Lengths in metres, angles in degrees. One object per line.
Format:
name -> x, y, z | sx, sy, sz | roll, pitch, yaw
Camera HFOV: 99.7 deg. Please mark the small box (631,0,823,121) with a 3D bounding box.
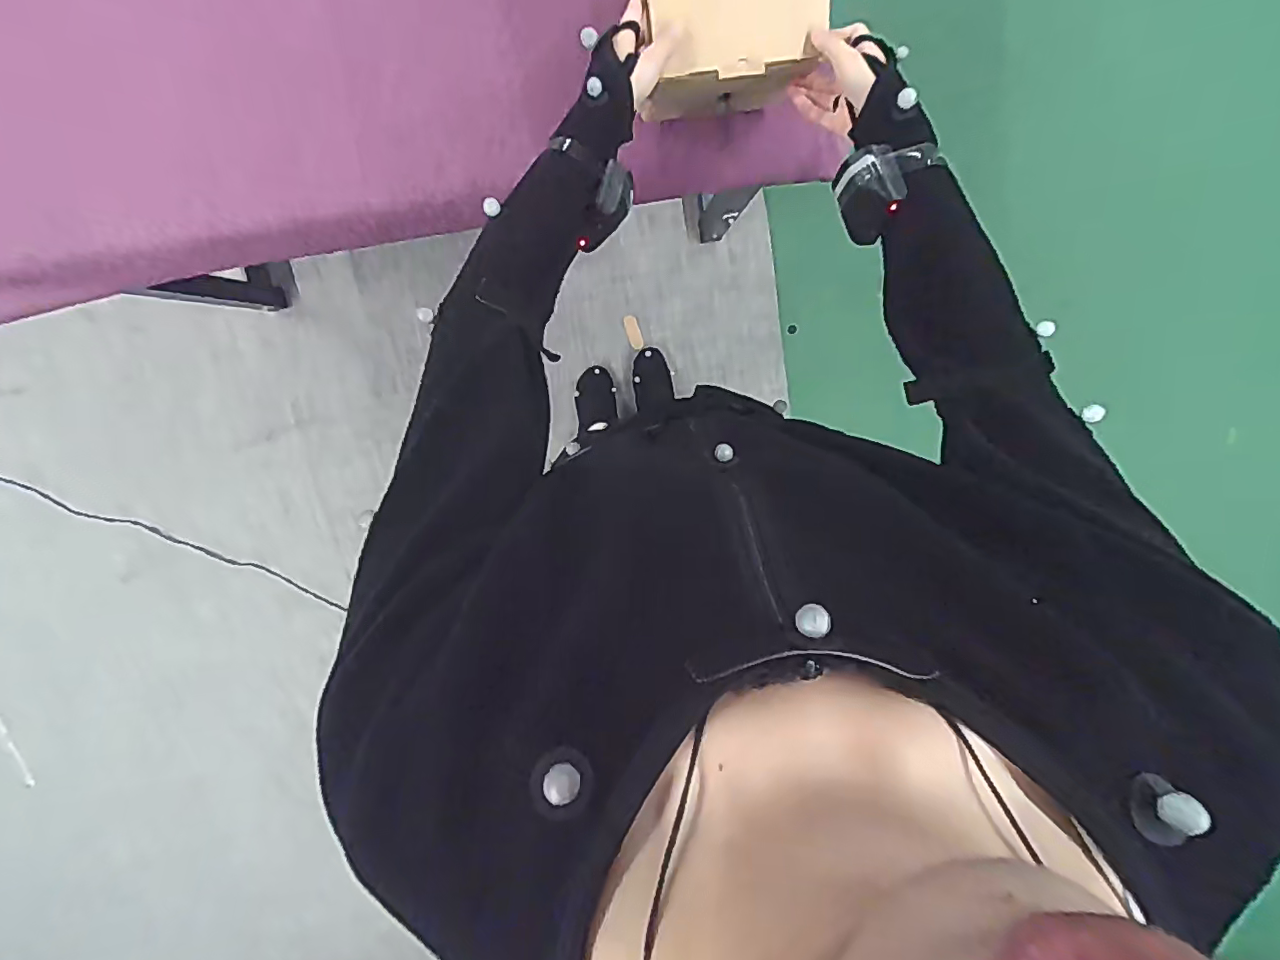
small box -> 0.078, -0.486, 0.551 | 0.168, 0.176, 0.179 | -7, 113, -1
